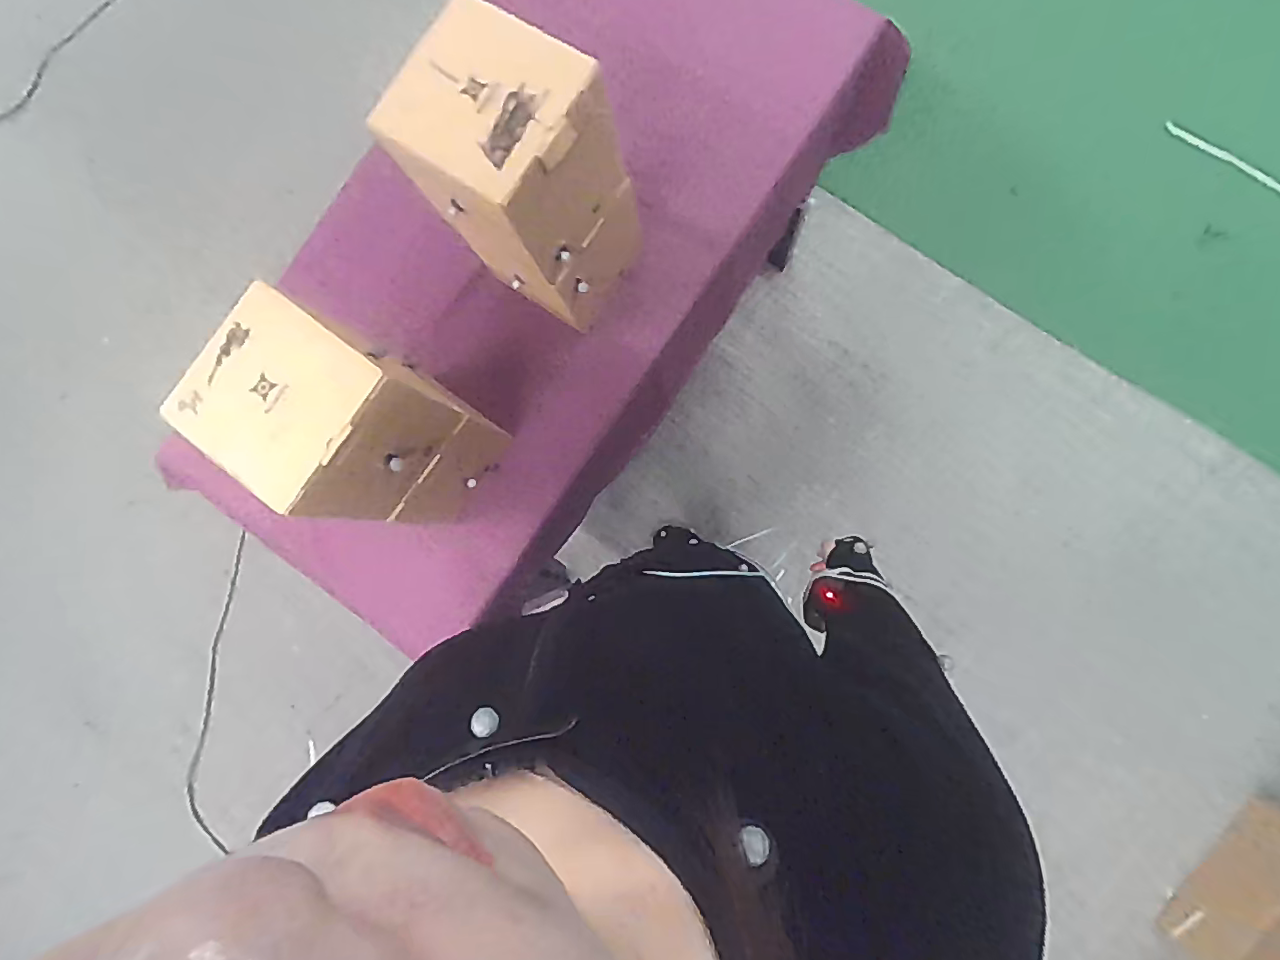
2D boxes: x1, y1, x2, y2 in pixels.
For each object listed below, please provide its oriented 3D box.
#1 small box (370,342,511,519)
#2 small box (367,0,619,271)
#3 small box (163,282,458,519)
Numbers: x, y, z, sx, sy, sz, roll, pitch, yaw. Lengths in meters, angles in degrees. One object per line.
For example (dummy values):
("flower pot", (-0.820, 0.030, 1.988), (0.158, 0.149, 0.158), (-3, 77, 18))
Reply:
("small box", (-0.314, -0.055, 0.752), (0.179, 0.176, 0.168), (35, 90, 8))
("small box", (-0.143, -0.361, 0.595), (0.179, 0.176, 0.168), (34, 89, 10))
("small box", (-0.336, -0.072, 0.589), (0.179, 0.176, 0.168), (35, 89, 8))
